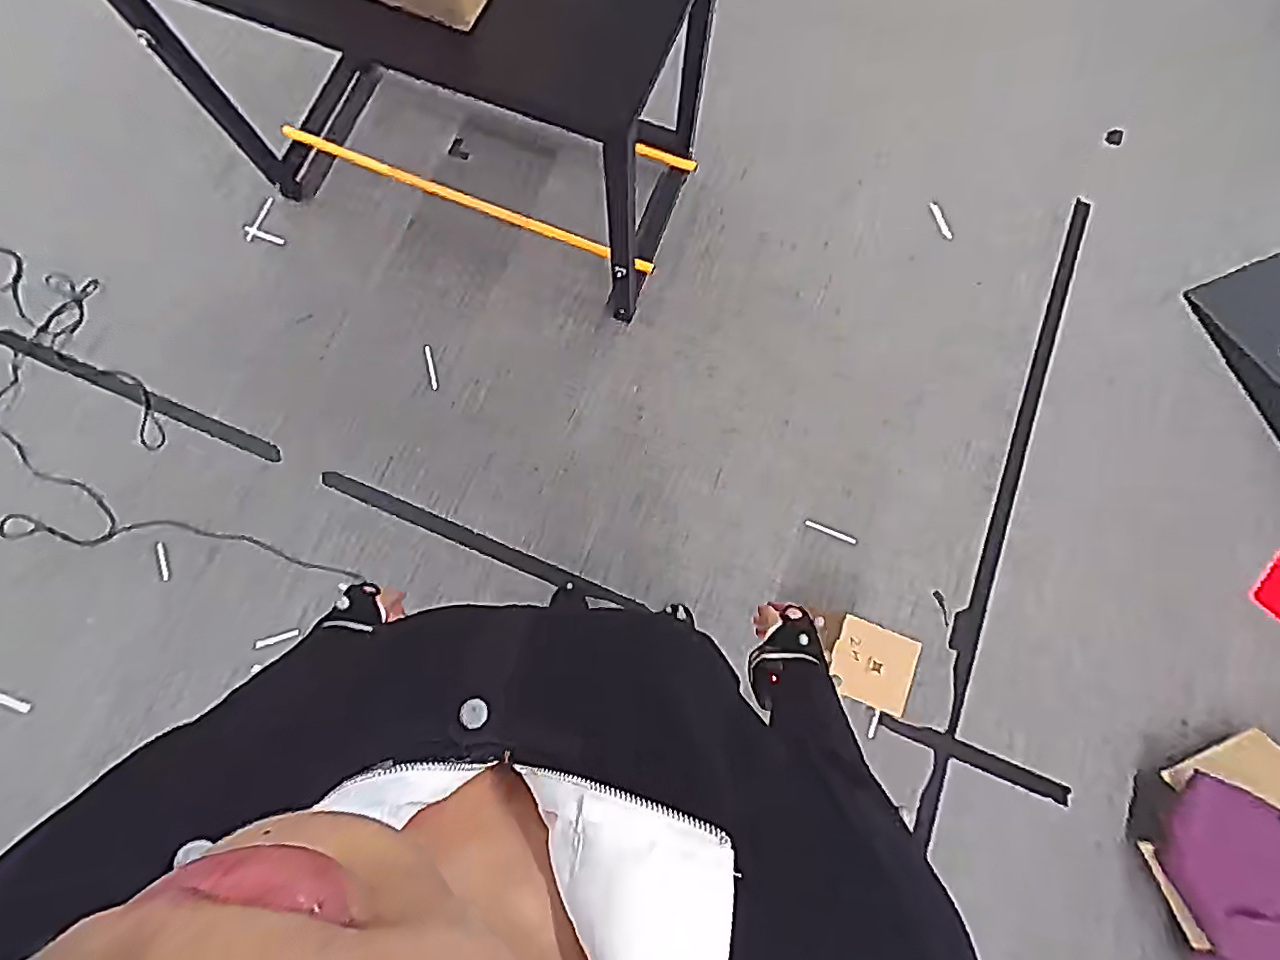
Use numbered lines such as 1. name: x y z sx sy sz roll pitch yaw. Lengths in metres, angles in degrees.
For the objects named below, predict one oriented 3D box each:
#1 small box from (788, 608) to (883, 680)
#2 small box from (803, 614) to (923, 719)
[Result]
1. small box: 0.498 0.439 1.395 0.168 0.176 0.179 18 80 3
2. small box: 0.498 0.413 1.232 0.179 0.176 0.168 22 80 4
